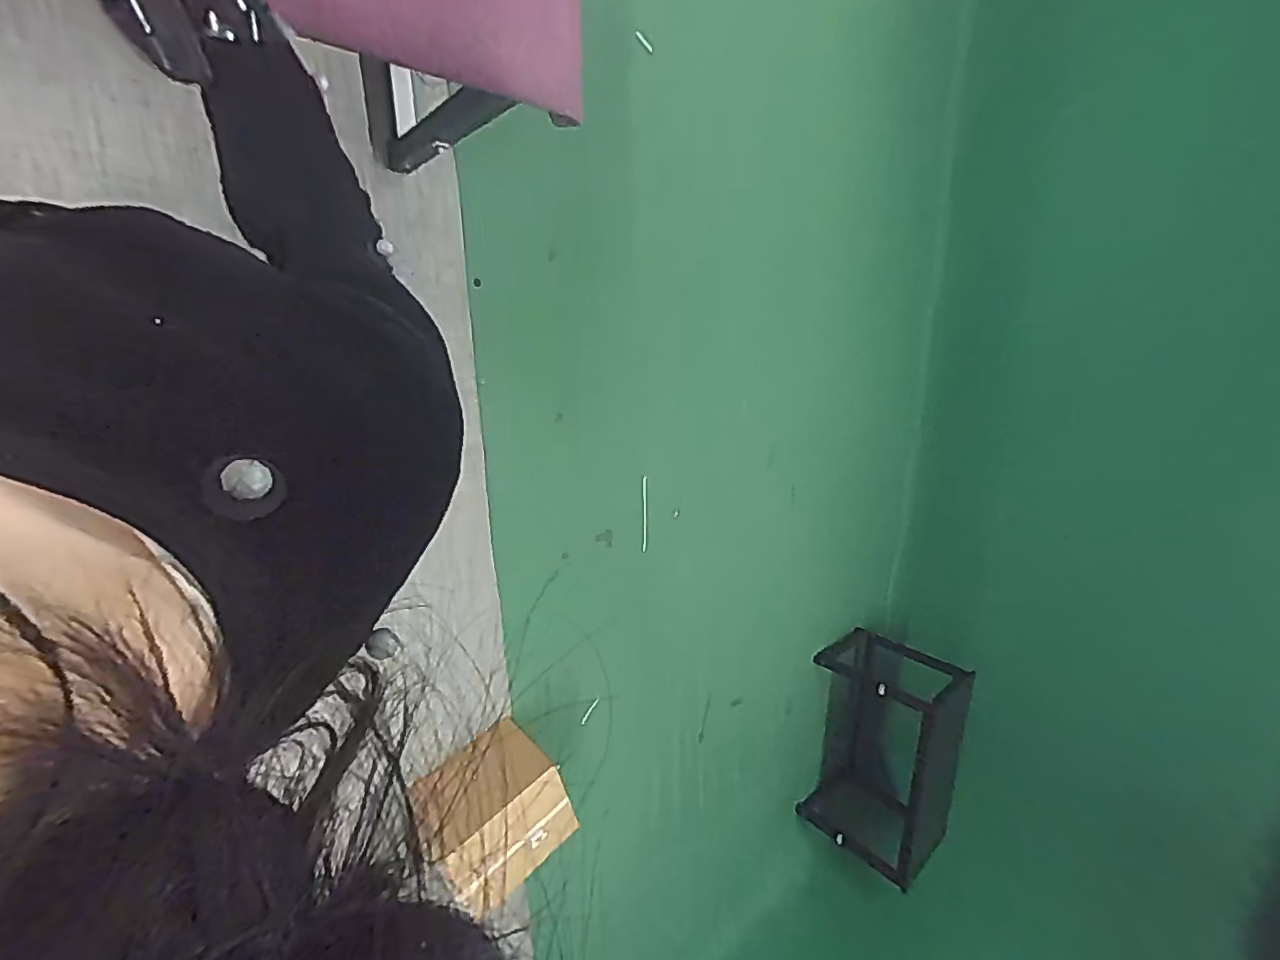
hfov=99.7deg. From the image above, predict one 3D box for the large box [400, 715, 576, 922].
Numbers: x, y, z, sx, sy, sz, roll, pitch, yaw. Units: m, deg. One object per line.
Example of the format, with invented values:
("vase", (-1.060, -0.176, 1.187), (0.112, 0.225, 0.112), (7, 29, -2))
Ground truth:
("large box", (-0.484, 1.065, 1.751), (0.408, 0.320, 0.320), (-30, 121, -34))
